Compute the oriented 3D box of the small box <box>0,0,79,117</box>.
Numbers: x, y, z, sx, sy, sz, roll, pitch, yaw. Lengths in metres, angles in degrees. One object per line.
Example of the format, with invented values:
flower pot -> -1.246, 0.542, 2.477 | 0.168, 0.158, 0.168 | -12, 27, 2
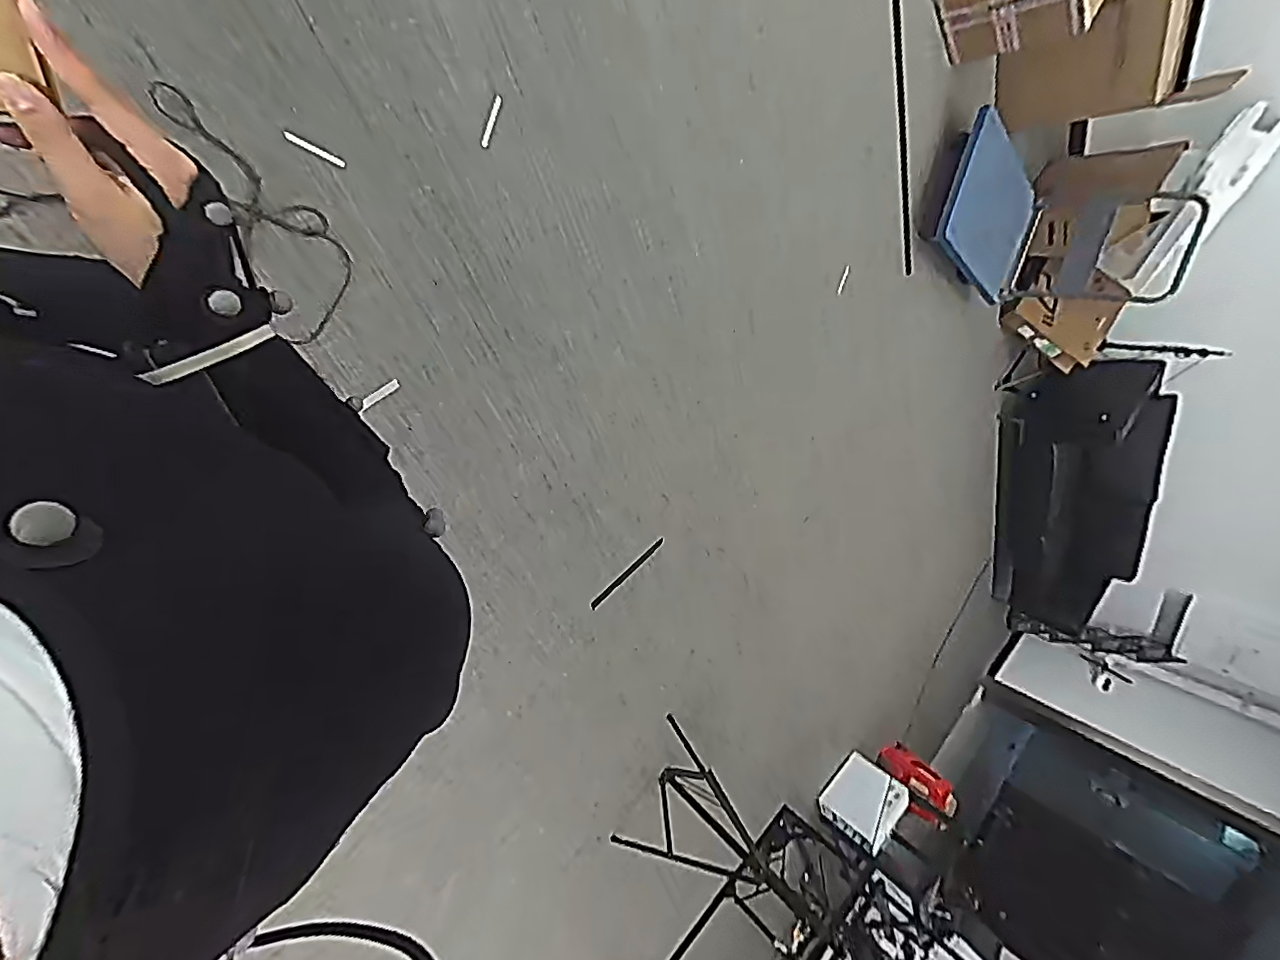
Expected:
small box -> -0.397, -0.274, 0.239 | 0.179, 0.176, 0.168 | -17, 127, -36
